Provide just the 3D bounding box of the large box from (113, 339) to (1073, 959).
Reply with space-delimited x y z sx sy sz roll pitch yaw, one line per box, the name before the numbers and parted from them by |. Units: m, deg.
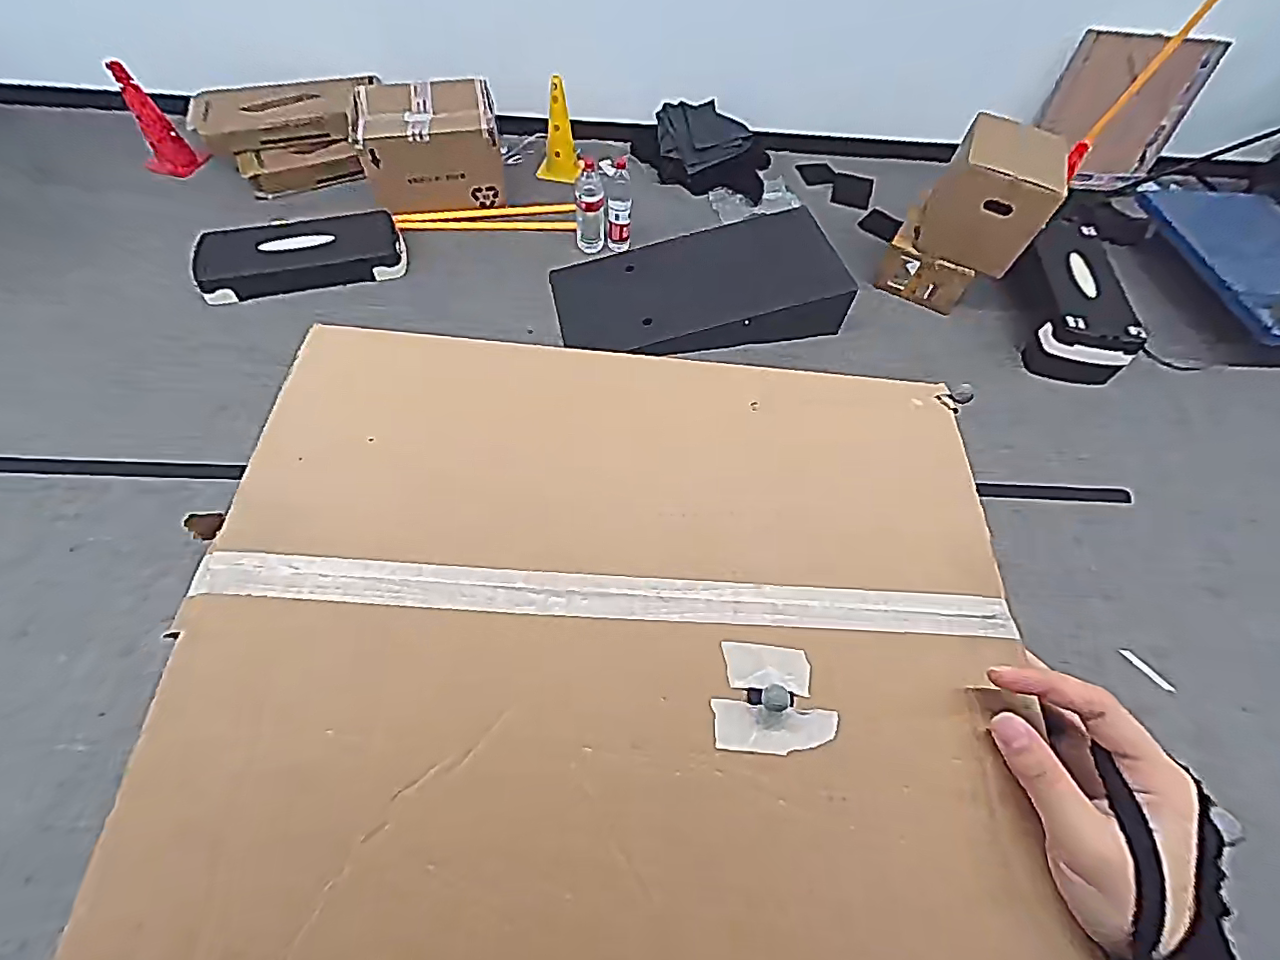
large box | -0.018 0.128 0.419 0.408 0.320 0.320 5 63 -5
